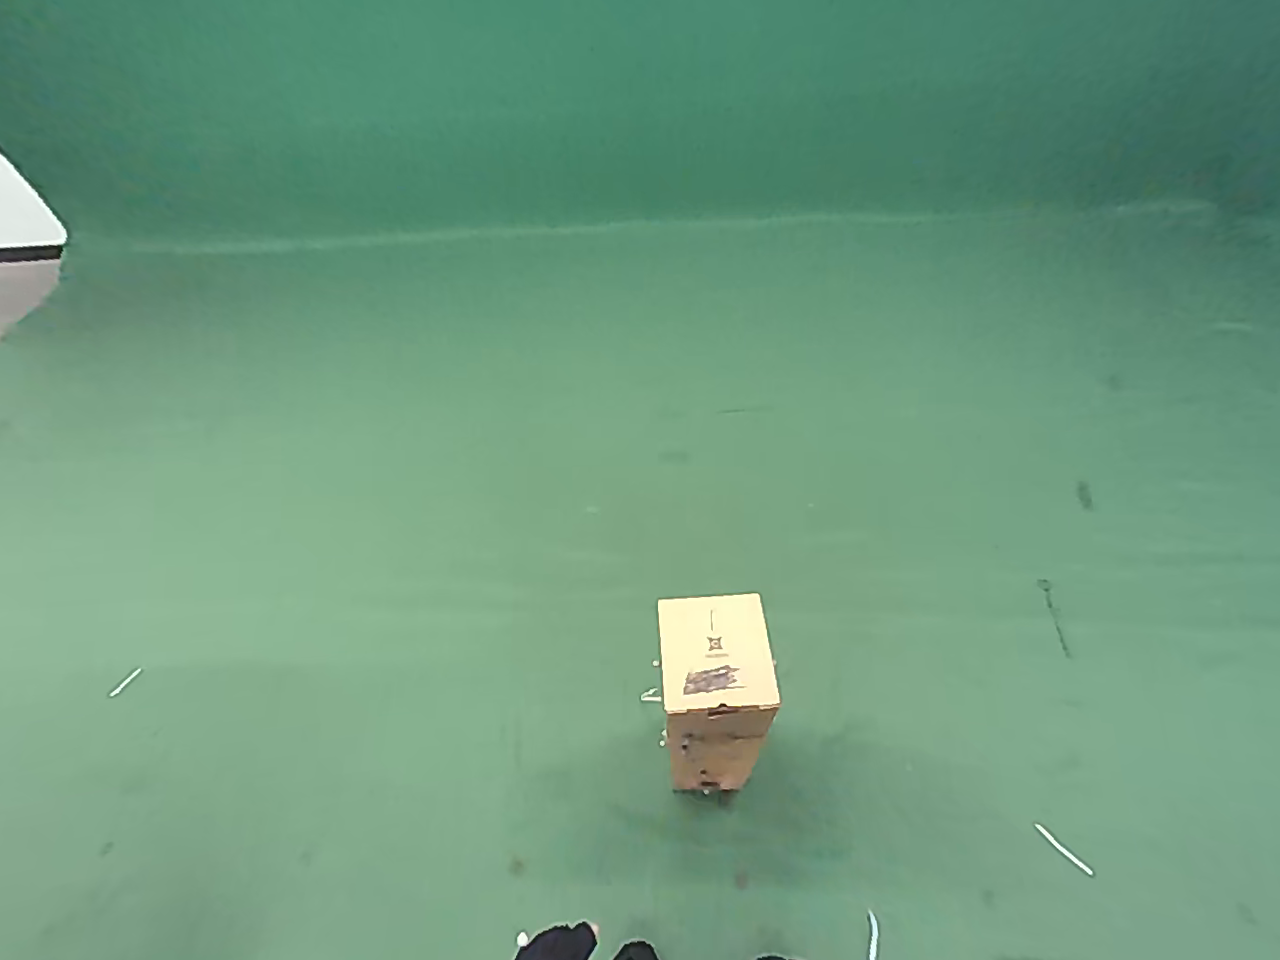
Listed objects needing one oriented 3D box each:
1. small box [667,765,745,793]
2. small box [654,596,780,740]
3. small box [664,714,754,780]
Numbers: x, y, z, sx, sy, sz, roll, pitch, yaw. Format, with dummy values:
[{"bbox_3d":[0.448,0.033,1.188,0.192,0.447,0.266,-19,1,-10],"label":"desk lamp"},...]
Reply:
[{"bbox_3d":[0.146,0.615,1.258,0.168,0.176,0.179,-2,52,3],"label":"small box"},{"bbox_3d":[0.116,0.310,0.874,0.168,0.176,0.179,-6,53,-1],"label":"small box"},{"bbox_3d":[0.135,0.514,1.131,0.168,0.176,0.179,-3,53,1],"label":"small box"}]
